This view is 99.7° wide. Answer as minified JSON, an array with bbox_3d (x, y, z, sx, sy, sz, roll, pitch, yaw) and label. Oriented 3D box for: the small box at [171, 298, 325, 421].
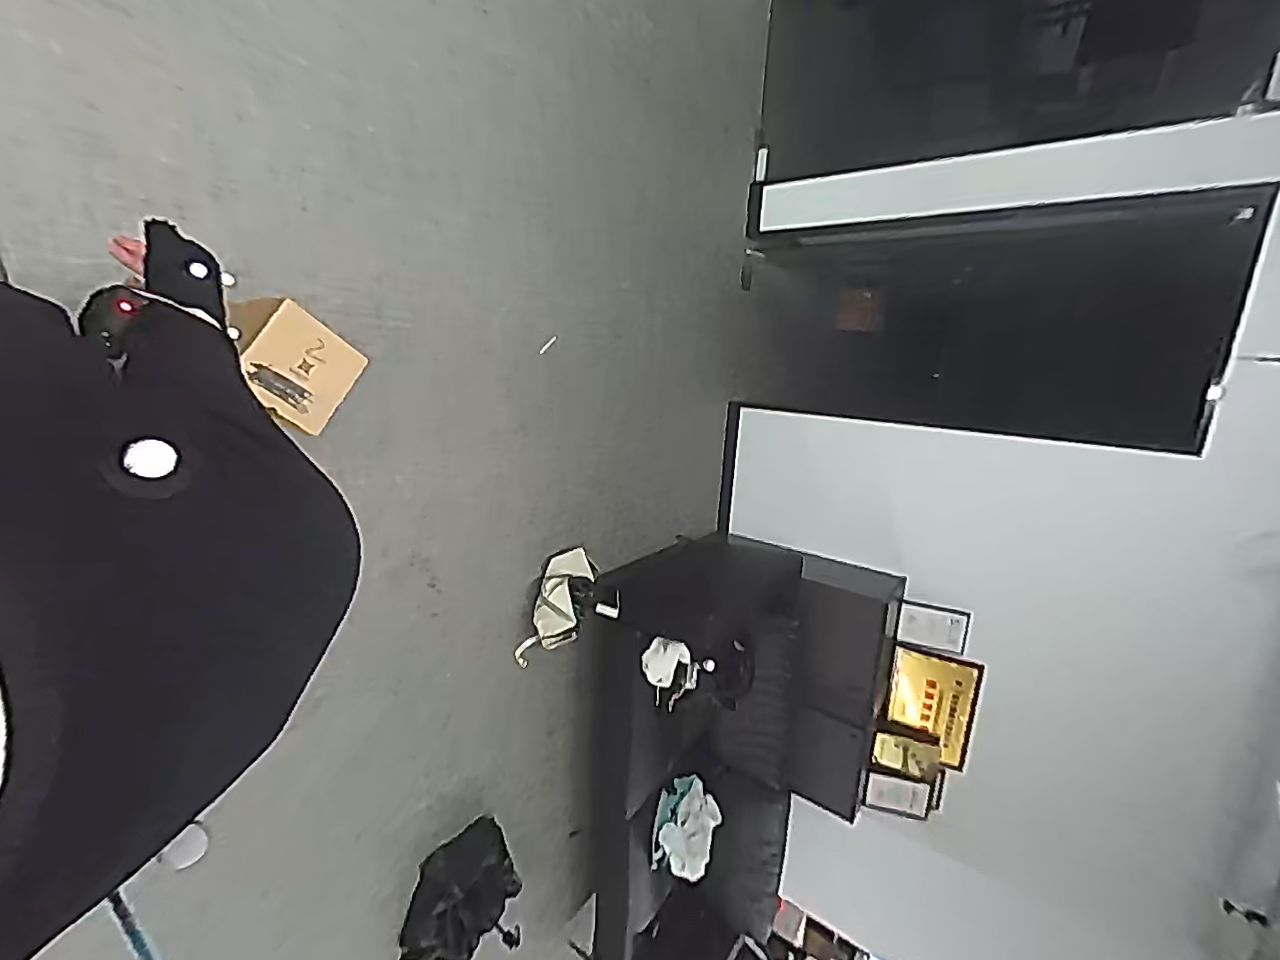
[{"bbox_3d":[-0.777,-0.239,1.070,0.168,0.176,0.179,36,71,-53],"label":"small box"}]
